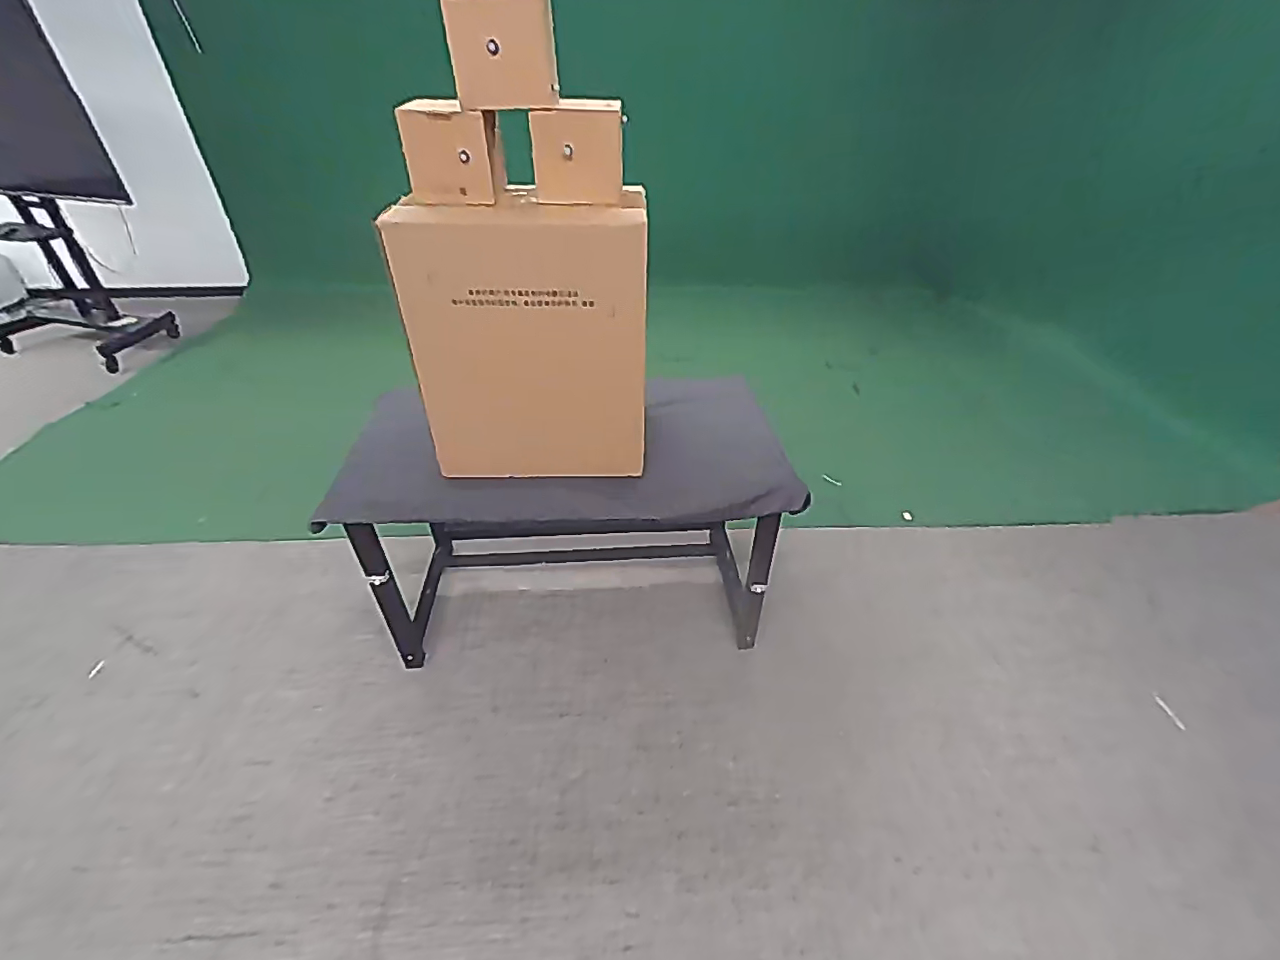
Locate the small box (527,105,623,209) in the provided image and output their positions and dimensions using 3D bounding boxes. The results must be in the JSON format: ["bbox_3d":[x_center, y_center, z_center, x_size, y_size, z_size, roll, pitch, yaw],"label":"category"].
[{"bbox_3d":[-0.129,-0.685,1.148,0.179,0.176,0.168,-1,40,0],"label":"small box"}]

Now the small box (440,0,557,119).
[{"bbox_3d":[-0.259,-0.809,1.040,0.179,0.176,0.168,-2,40,0],"label":"small box"}]

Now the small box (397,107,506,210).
[{"bbox_3d":[-0.385,-0.679,1.143,0.168,0.176,0.179,0,38,-2],"label":"small box"}]
